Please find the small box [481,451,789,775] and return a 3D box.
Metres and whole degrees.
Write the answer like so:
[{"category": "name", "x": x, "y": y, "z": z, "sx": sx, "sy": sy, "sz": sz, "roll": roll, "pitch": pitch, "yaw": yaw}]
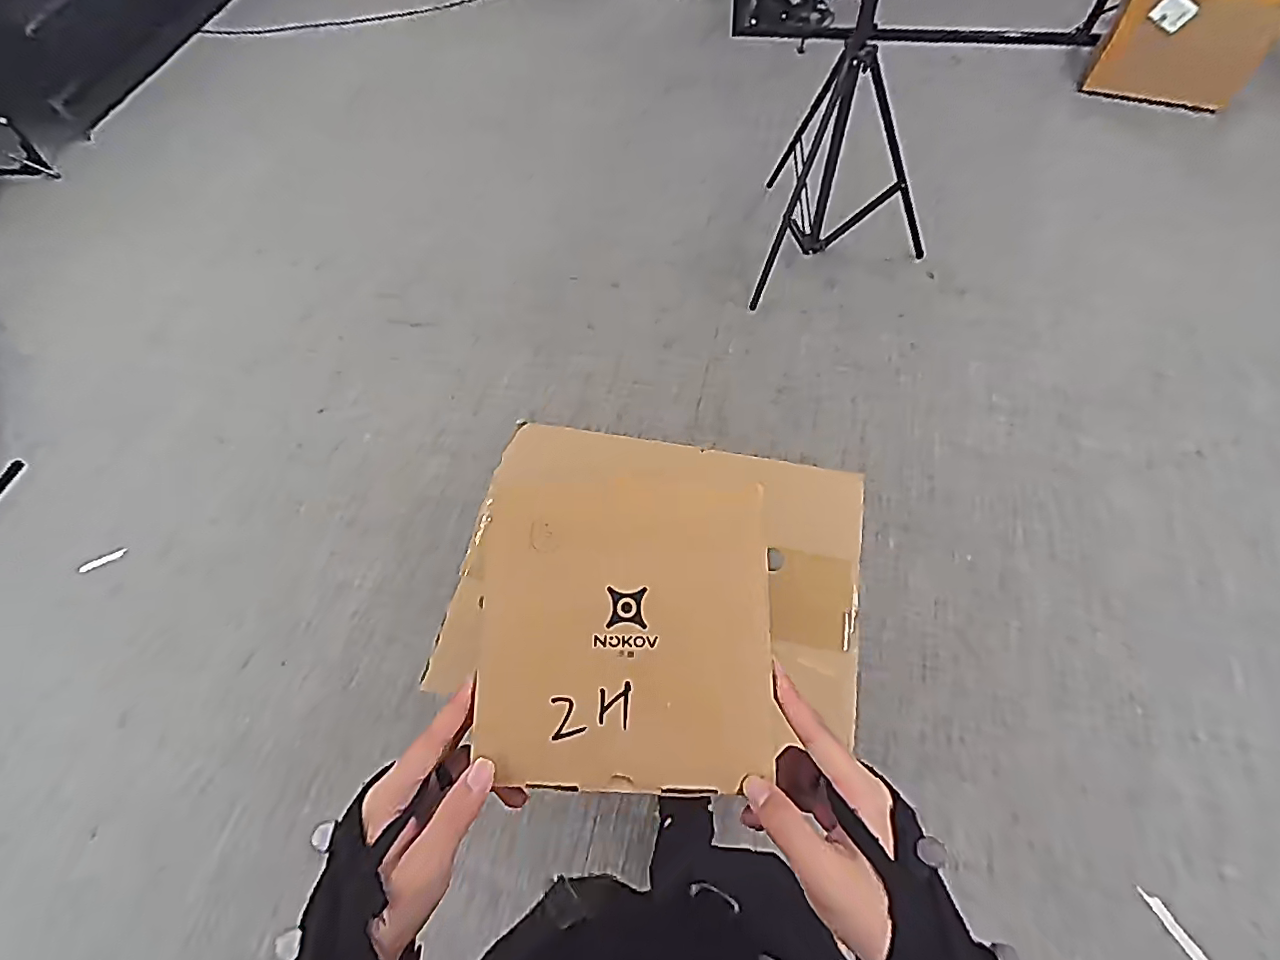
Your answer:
[{"category": "small box", "x": 0.003, "y": 0.089, "z": 0.383, "sx": 0.168, "sy": 0.176, "sz": 0.179, "roll": 1, "pitch": 75, "yaw": 3}]
